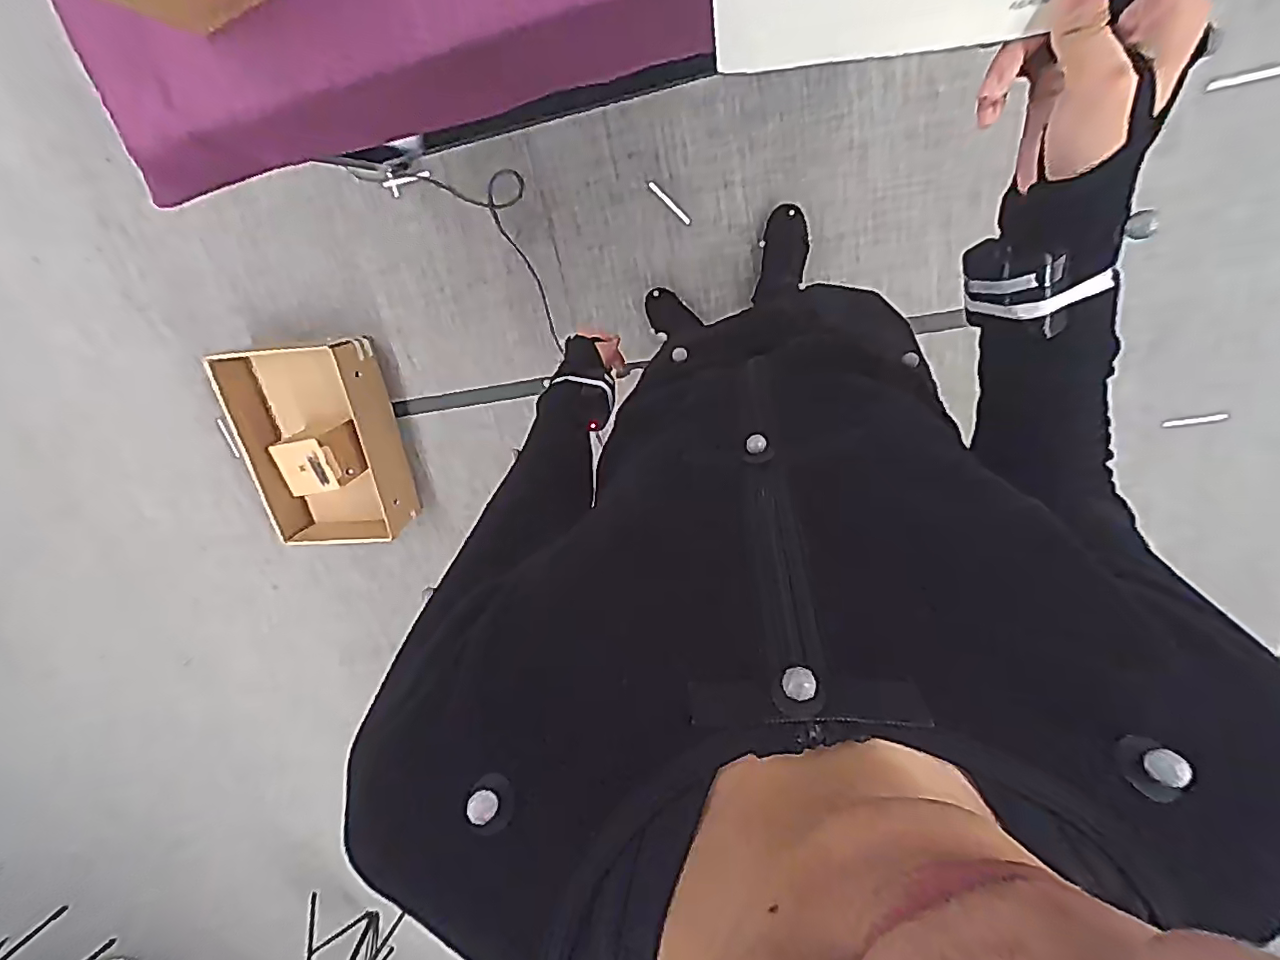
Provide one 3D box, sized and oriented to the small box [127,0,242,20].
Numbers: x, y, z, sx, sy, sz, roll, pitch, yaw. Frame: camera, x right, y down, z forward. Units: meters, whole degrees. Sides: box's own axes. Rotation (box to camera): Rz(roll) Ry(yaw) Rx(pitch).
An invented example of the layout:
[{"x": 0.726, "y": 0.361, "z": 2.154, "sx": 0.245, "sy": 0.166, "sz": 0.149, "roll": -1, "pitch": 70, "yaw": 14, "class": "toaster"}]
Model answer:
[{"x": -0.534, "y": -0.646, "z": 0.586, "sx": 0.168, "sy": 0.176, "sz": 0.179, "roll": -16, "pitch": 112, "yaw": 13, "class": "small box"}]
